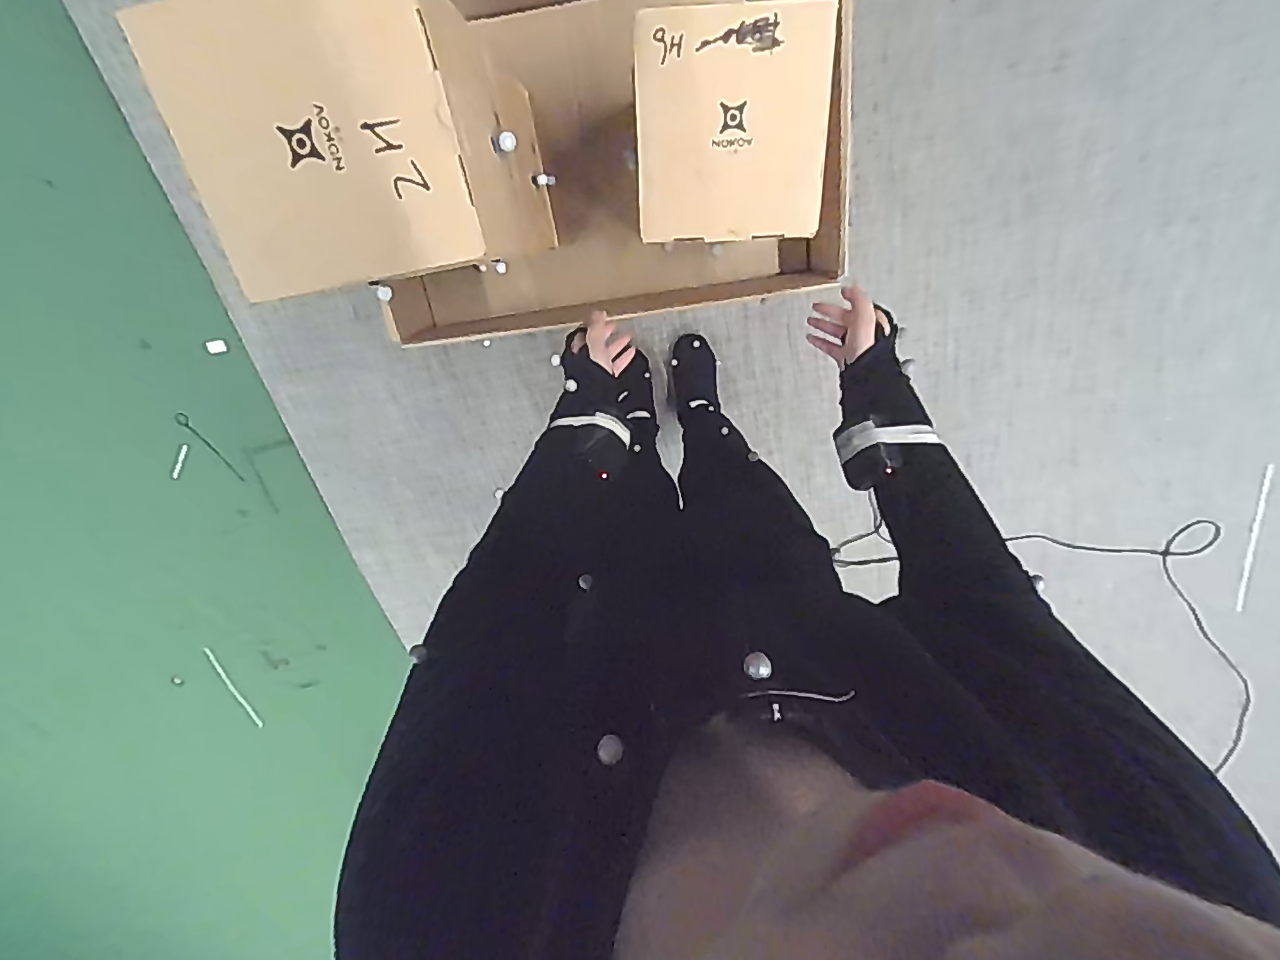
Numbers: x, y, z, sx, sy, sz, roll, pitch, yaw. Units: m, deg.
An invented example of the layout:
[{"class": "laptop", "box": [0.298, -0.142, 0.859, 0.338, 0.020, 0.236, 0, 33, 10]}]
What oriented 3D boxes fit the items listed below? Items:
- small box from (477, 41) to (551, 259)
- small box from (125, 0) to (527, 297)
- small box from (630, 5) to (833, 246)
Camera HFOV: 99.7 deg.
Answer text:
[{"class": "small box", "box": [-0.203, -0.313, 0.560, 0.179, 0.176, 0.168, -9, 114, 3]}, {"class": "small box", "box": [-0.201, -0.243, 0.411, 0.179, 0.176, 0.168, -9, 114, 3]}, {"class": "small box", "box": [0.077, -0.335, 0.543, 0.168, 0.176, 0.179, -1, 115, 1]}]
